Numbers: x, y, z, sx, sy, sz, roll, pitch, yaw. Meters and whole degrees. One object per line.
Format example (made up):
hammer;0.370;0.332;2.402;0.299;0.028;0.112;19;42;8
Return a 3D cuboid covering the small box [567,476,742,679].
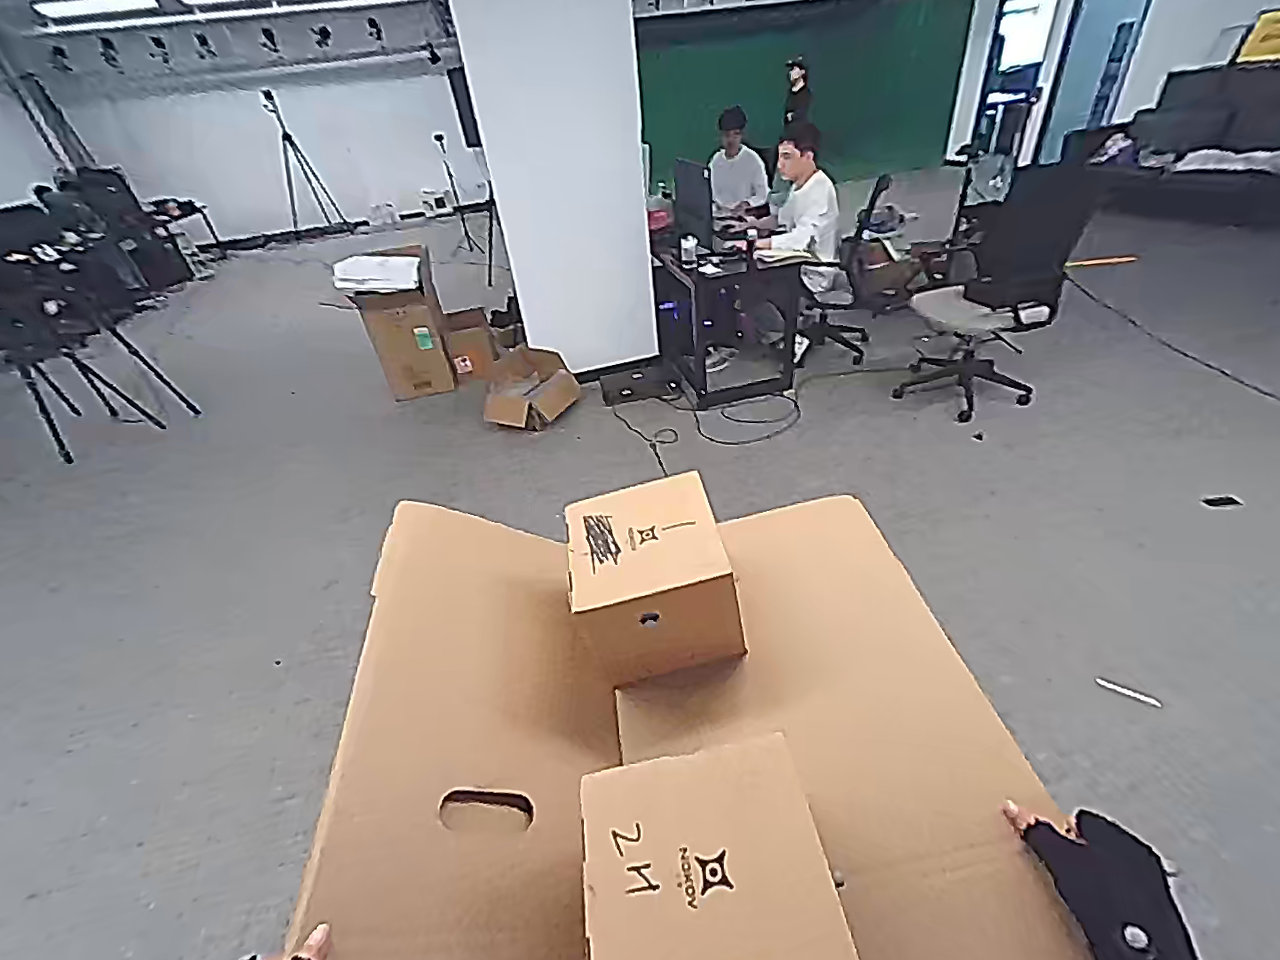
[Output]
small box;0.018;0.127;0.687;0.179;0.176;0.168;-15;42;2
